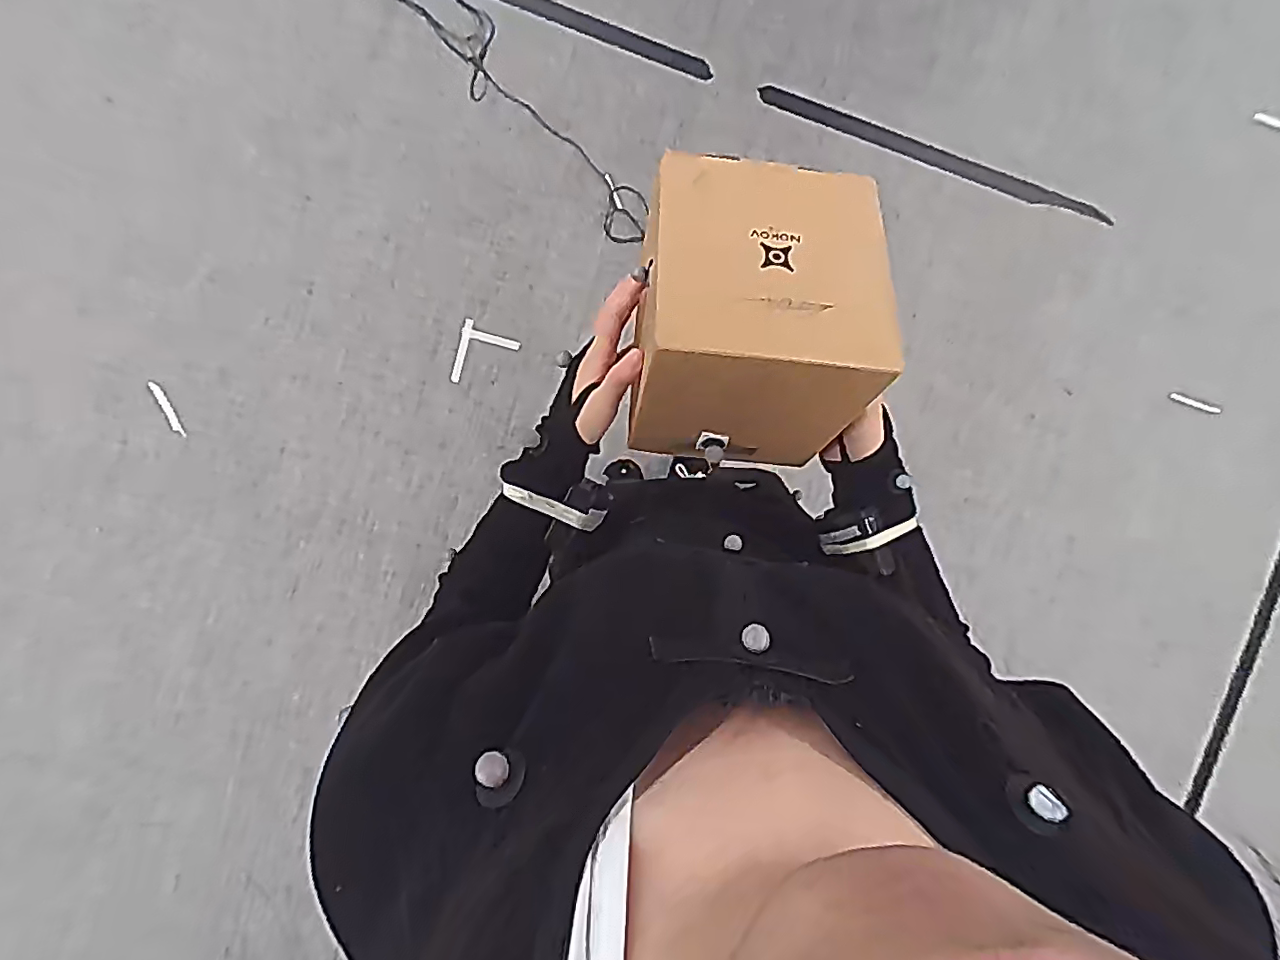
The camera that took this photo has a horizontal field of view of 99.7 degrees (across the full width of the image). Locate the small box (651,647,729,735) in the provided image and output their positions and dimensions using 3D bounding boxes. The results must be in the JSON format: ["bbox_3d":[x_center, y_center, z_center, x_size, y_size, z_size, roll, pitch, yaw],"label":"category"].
[{"bbox_3d":[0.128,0.561,1.455,0.179,0.176,0.168,5,93,-4],"label":"small box"}]

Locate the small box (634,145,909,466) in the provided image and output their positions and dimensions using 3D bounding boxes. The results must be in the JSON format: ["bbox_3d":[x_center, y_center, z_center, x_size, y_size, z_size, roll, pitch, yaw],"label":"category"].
[{"bbox_3d":[0.086,-0.128,0.444,0.168,0.176,0.179,4,69,-5],"label":"small box"}]
